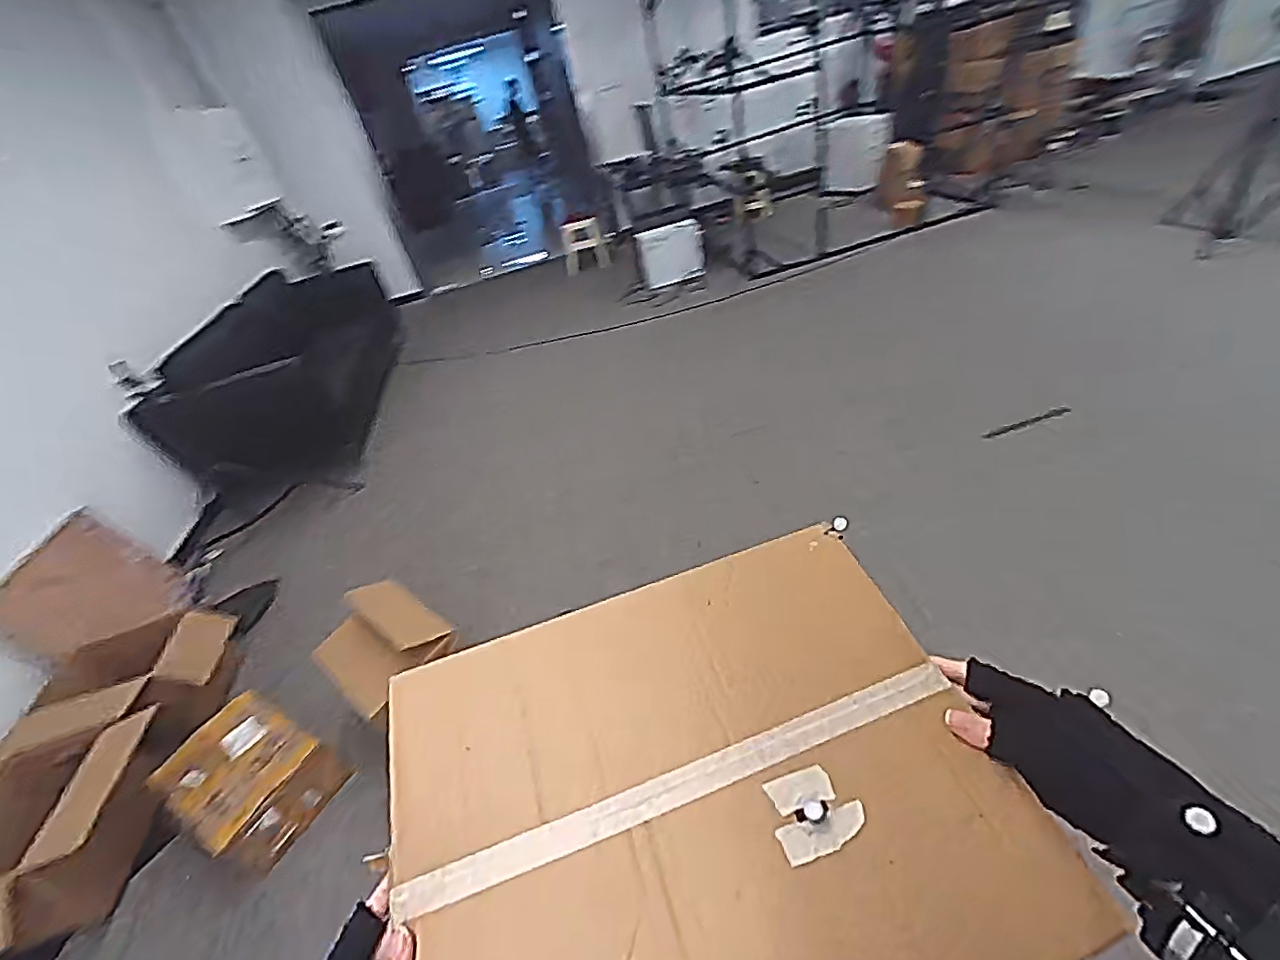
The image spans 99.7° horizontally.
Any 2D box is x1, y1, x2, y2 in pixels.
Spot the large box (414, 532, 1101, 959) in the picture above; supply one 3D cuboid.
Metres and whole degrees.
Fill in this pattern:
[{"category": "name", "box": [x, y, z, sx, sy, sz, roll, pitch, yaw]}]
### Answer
[{"category": "large box", "box": [0.056, 0.312, 0.498, 0.408, 0.320, 0.320, -17, 50, -8]}]
